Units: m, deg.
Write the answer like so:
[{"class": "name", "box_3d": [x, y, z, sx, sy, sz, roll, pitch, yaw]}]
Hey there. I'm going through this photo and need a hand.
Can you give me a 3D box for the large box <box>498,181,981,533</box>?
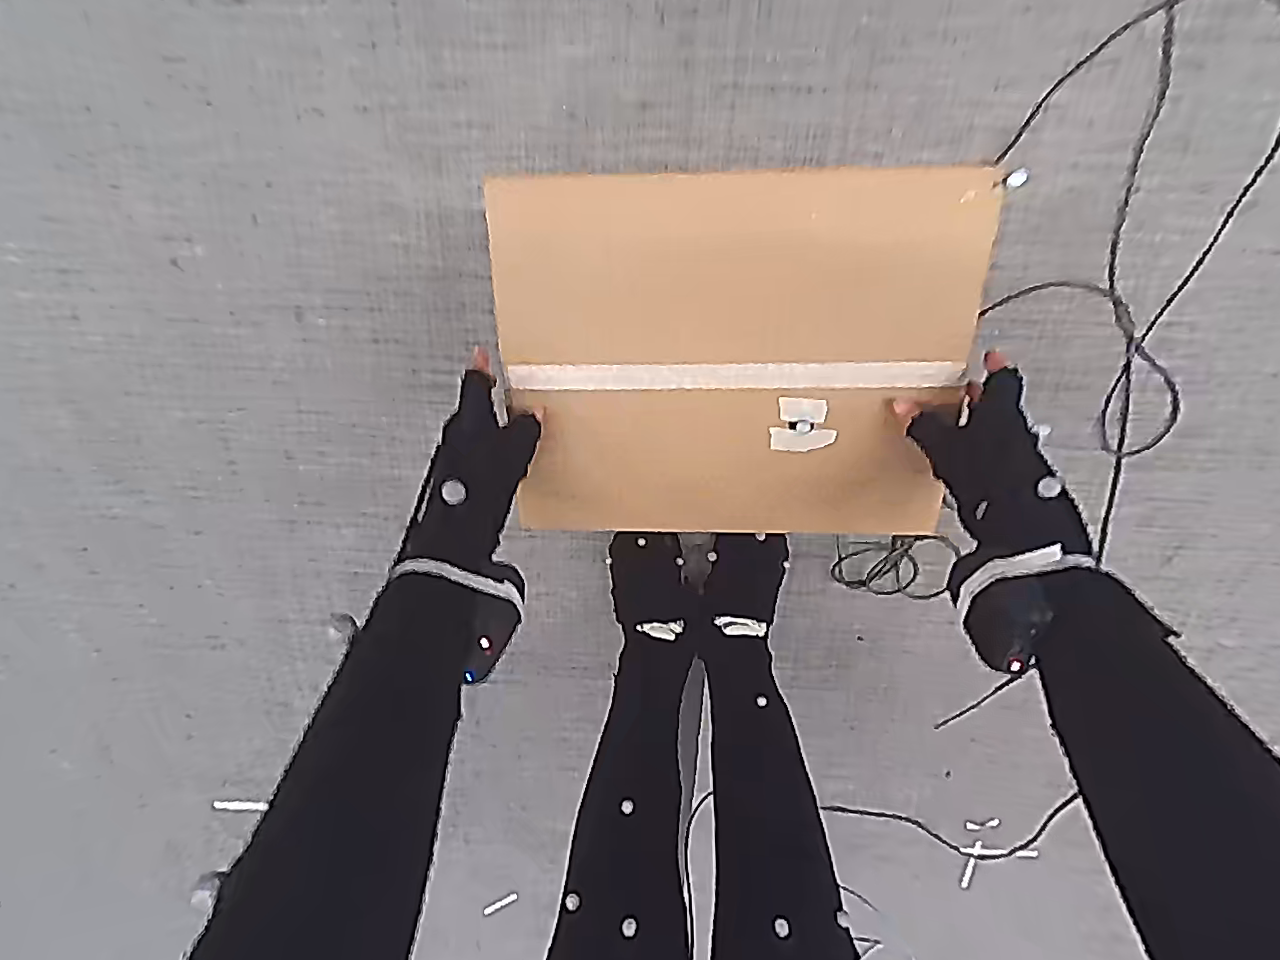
[{"class": "large box", "box_3d": [0.088, -0.143, 0.633, 0.408, 0.320, 0.320, 0, 111, 3]}]
